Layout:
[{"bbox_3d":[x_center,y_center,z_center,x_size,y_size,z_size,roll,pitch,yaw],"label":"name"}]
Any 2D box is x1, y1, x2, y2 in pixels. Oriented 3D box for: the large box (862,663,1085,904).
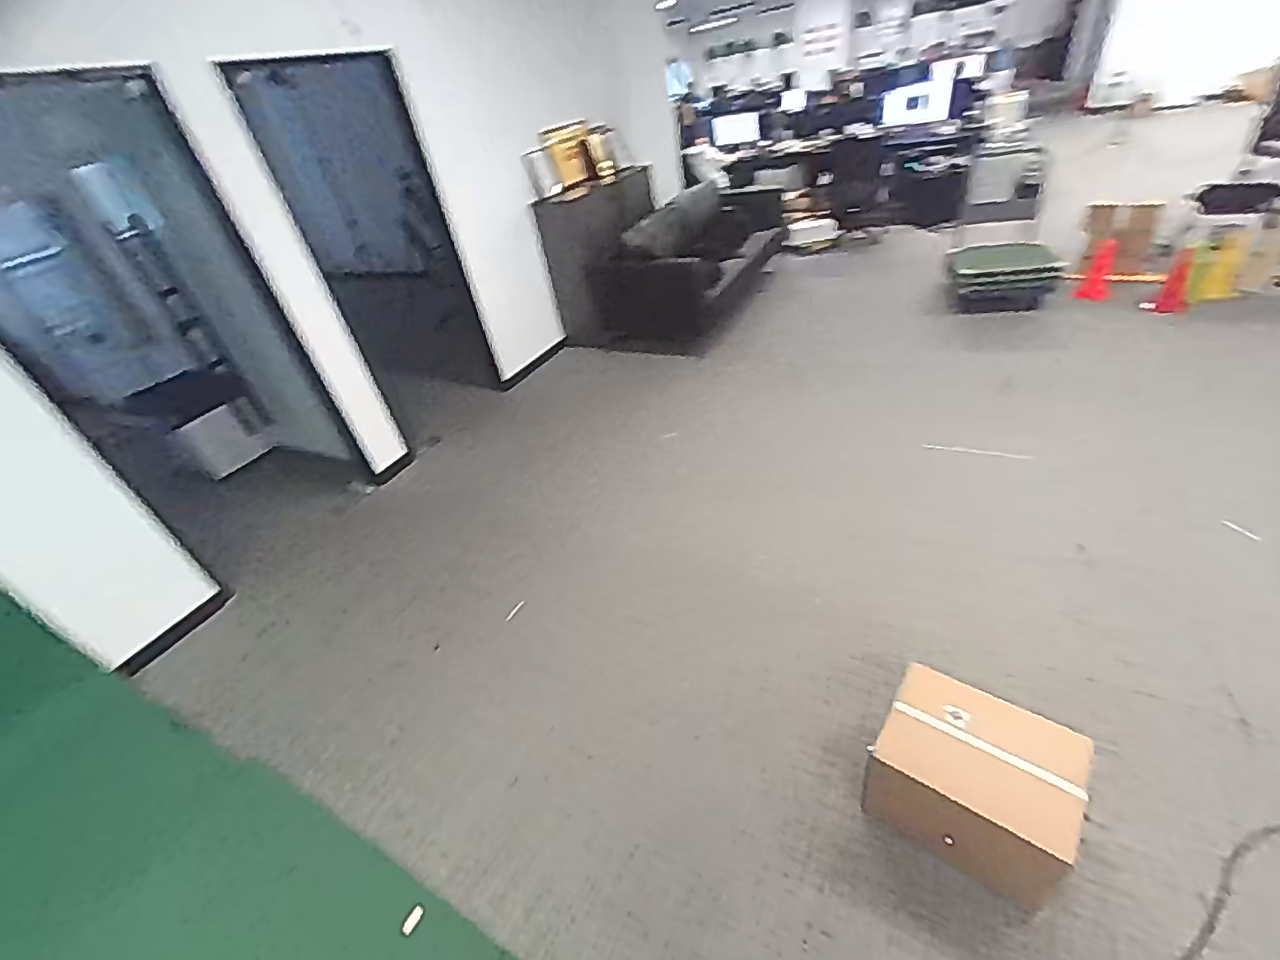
[{"bbox_3d":[0.825,0.749,1.370,0.408,0.320,0.320,17,44,36],"label":"large box"}]
